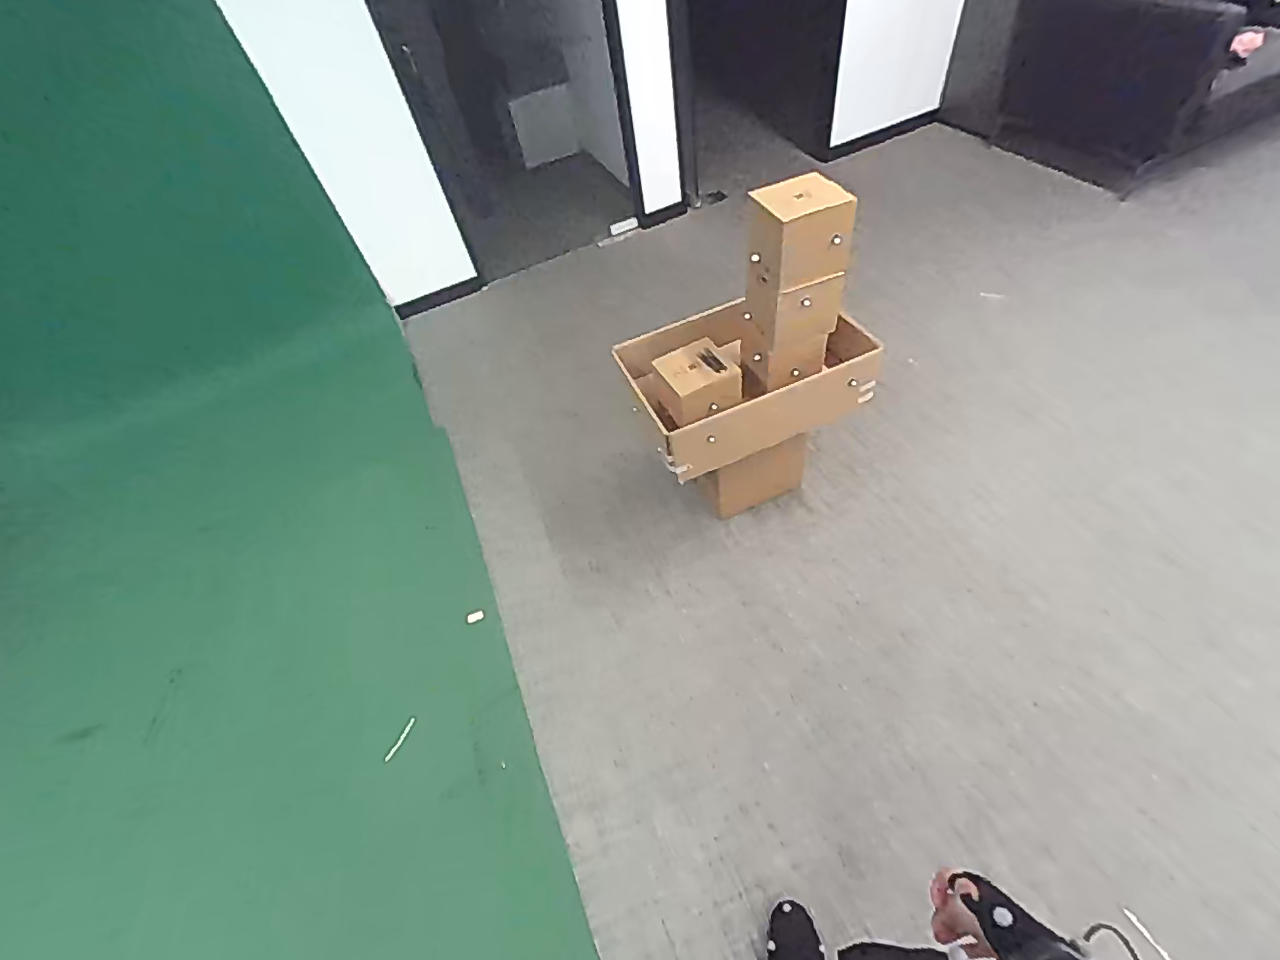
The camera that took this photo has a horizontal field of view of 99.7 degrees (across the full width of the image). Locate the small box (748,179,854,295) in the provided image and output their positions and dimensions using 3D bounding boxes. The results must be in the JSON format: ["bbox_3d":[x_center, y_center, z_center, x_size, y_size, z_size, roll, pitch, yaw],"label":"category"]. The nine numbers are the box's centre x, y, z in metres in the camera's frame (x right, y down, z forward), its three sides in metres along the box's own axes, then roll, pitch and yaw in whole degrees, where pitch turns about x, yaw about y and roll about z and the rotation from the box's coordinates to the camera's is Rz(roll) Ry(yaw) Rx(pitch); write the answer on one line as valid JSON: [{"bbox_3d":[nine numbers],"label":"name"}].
[{"bbox_3d":[0.360,-0.557,1.246,0.179,0.176,0.168,-20,50,-6],"label":"small box"}]

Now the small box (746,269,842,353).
[{"bbox_3d":[0.381,-0.447,1.364,0.179,0.176,0.168,-20,51,-6],"label":"small box"}]

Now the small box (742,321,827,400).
[{"bbox_3d":[0.391,-0.341,1.489,0.168,0.176,0.179,-19,50,-5],"label":"small box"}]
